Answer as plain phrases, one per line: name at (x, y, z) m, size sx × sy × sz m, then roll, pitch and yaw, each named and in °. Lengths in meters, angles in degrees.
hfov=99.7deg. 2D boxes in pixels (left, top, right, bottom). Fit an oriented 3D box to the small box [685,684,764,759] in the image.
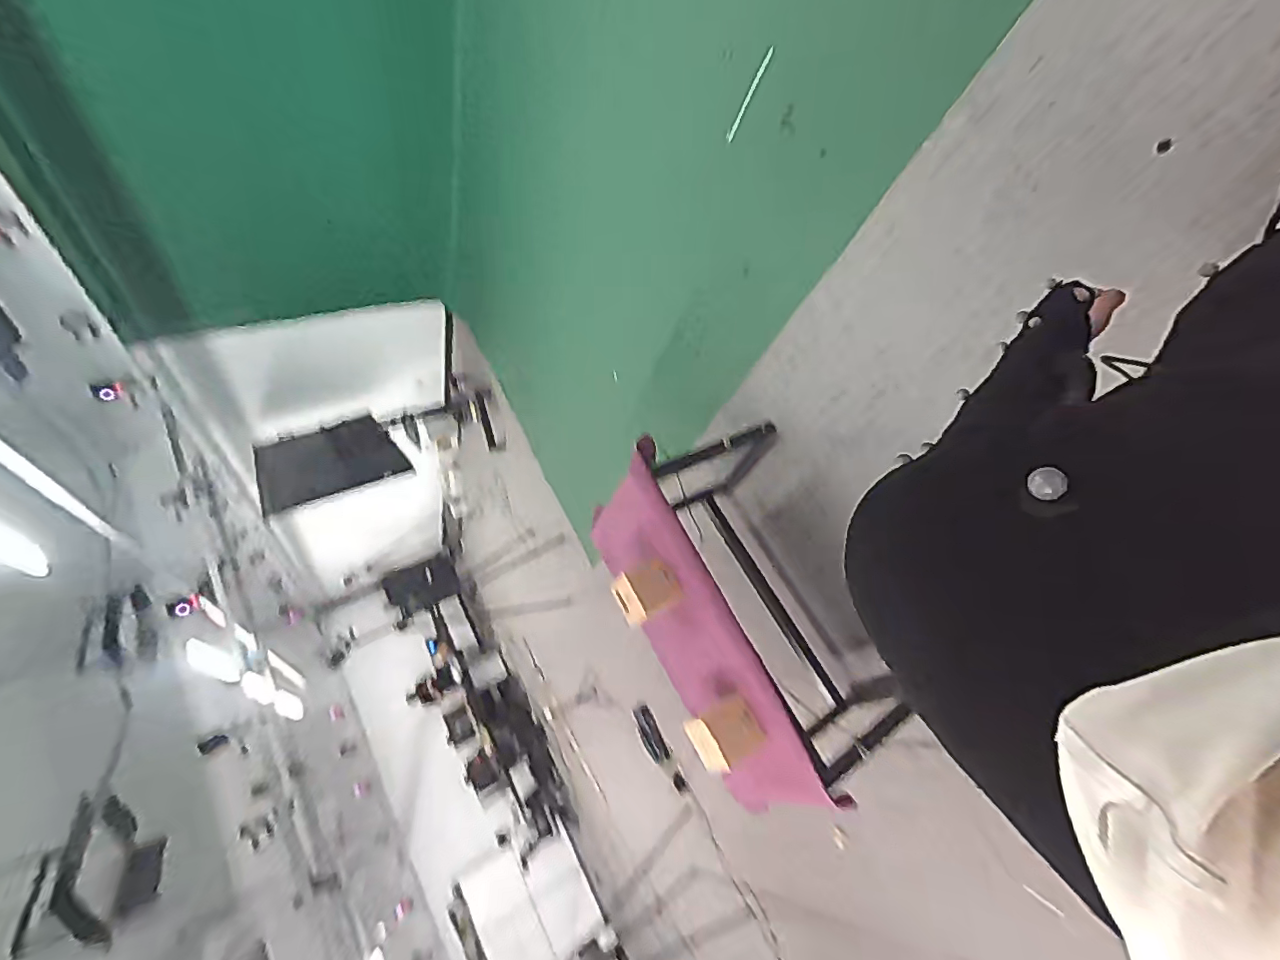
small box at (0.284, 0.809, 1.811) m, size 0.168 × 0.176 × 0.179 m, roll 59°, pitch 150°, yaw 17°
